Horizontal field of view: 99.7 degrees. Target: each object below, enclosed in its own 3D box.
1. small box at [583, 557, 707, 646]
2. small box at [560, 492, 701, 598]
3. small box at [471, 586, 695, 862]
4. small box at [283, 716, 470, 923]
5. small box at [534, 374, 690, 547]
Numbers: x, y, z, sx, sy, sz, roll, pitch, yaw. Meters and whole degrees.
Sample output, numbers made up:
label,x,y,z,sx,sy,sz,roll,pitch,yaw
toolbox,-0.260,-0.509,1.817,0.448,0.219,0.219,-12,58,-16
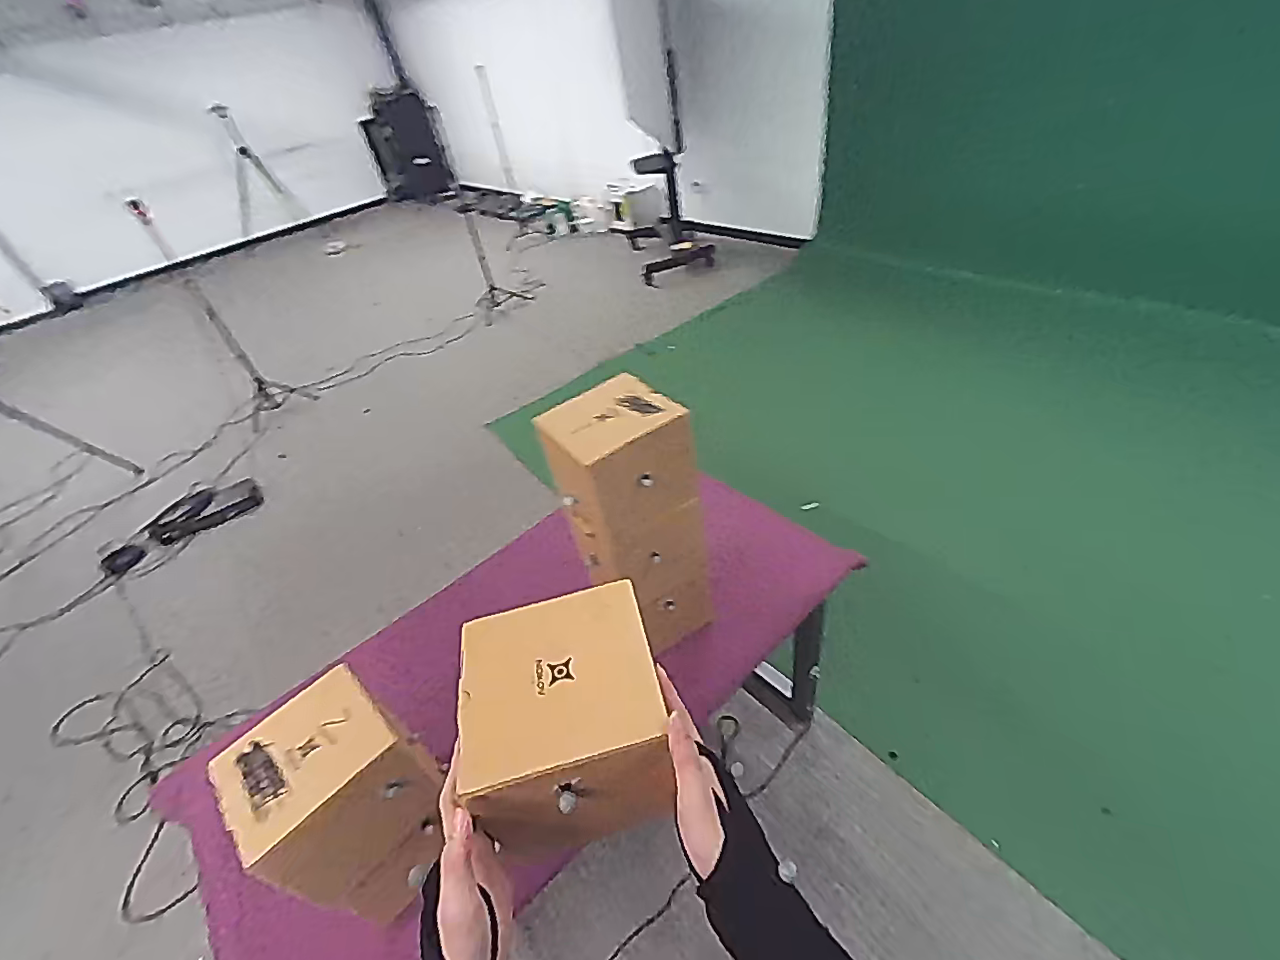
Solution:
label,x,y,z,sx,sy,sz,roll,pitch,yaw
small box,0.015,0.213,1.050,0.179,0.176,0.168,-27,43,-18
small box,-0.009,0.092,0.943,0.179,0.176,0.168,-30,44,-19
small box,-0.049,0.236,0.526,0.179,0.176,0.168,-14,40,-4
small box,-0.377,0.503,0.807,0.168,0.176,0.179,27,54,37
small box,-0.035,-0.033,0.839,0.179,0.176,0.168,-31,44,-20
